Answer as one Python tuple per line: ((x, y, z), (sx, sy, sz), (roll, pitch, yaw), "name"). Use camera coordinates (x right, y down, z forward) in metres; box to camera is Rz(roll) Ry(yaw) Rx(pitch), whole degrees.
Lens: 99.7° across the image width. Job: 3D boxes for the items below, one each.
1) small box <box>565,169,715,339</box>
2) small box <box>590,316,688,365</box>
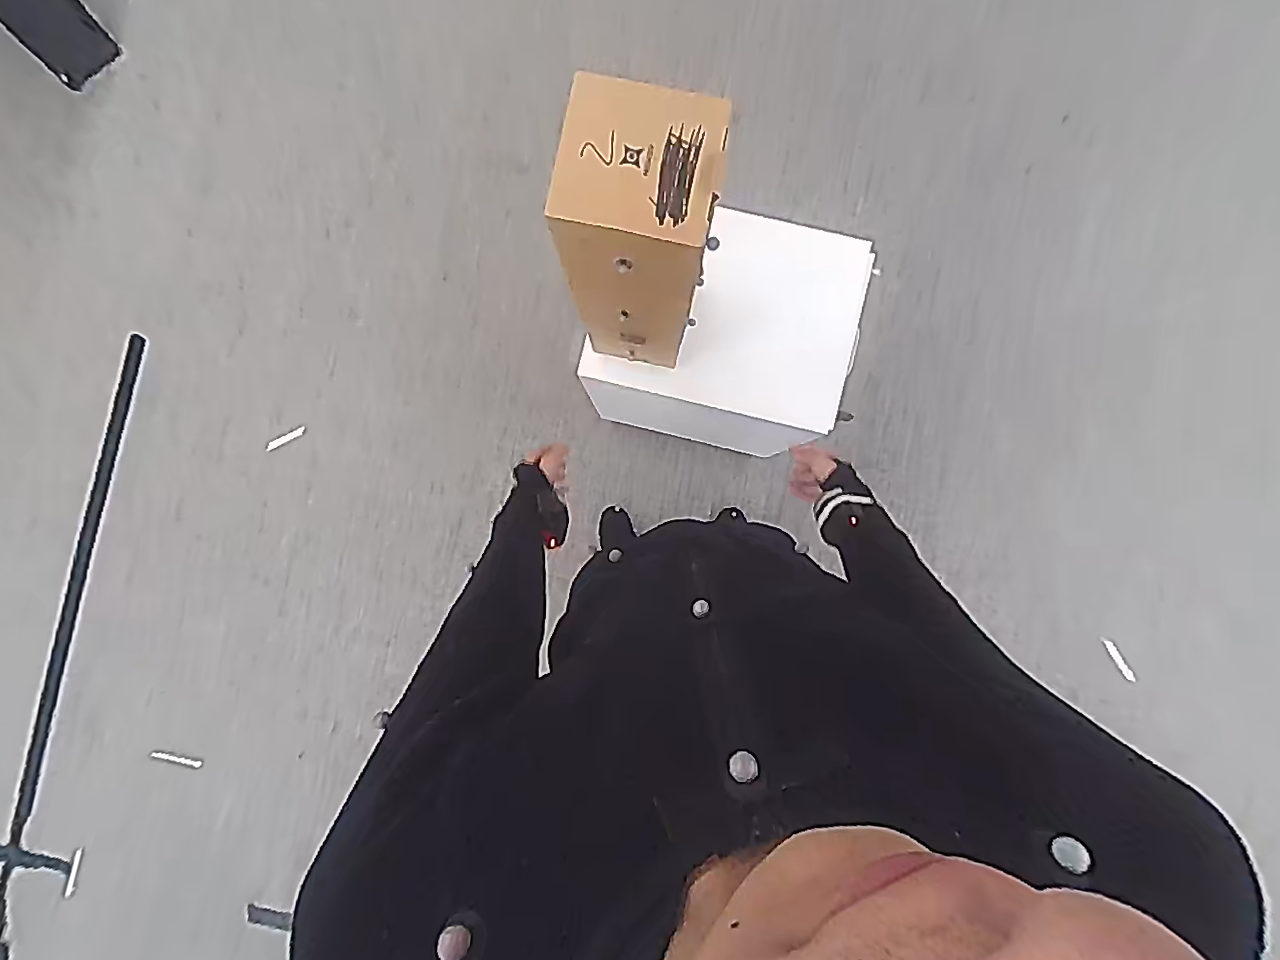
((0.001, -0.324, 0.813), (0.179, 0.176, 0.168), (13, 88, 2), "small box")
((0.007, -0.325, 0.977), (0.168, 0.176, 0.179), (12, 89, 1), "small box")
